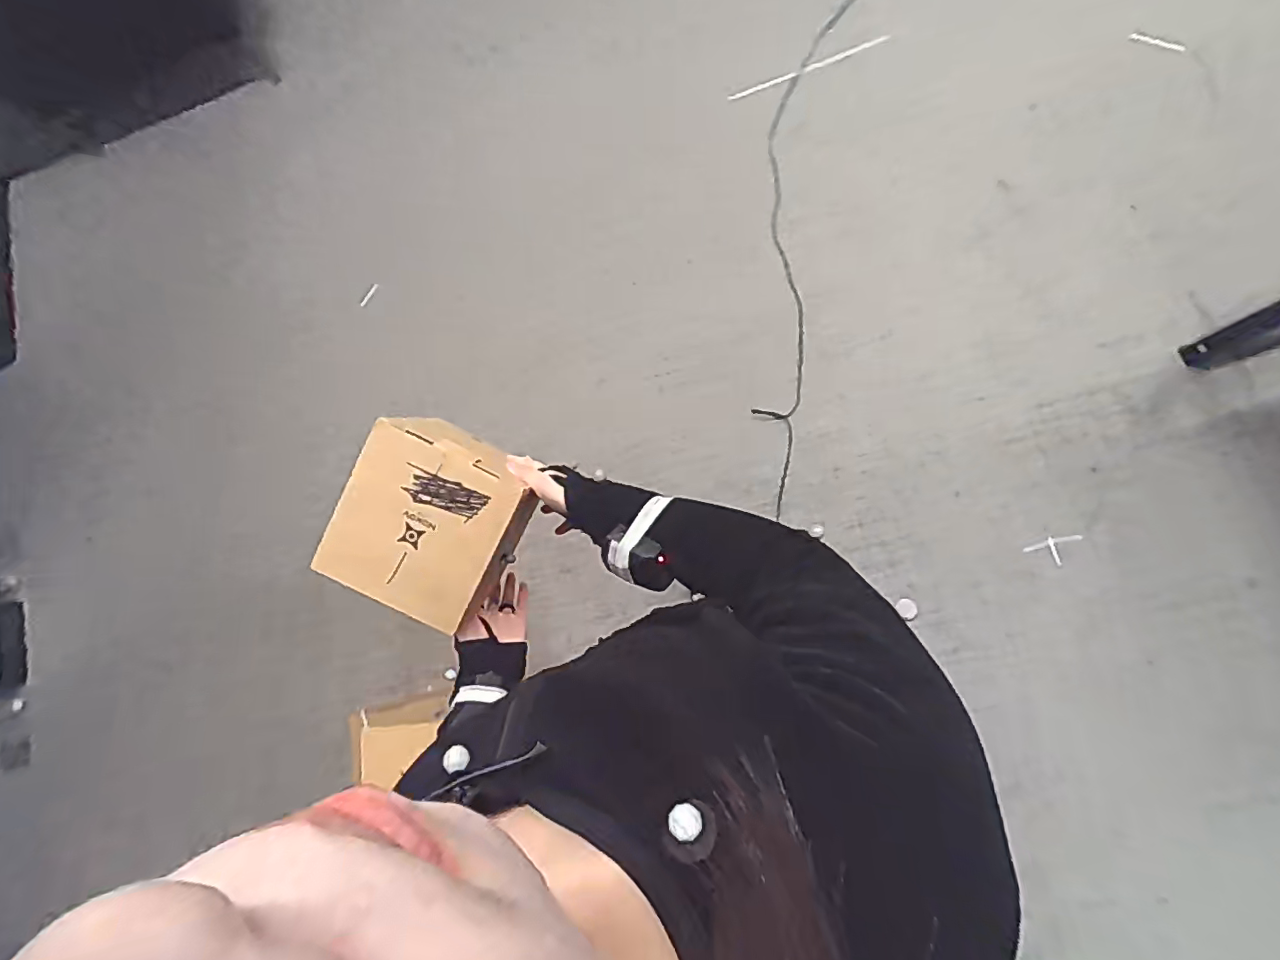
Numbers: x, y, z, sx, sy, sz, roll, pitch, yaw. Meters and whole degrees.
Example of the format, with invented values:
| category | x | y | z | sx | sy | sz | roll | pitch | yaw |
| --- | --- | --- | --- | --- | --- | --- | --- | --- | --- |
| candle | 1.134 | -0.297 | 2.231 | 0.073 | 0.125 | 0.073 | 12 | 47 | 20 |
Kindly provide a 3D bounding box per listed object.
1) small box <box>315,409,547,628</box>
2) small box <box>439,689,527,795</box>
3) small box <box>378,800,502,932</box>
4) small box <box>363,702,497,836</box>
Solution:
| category | x | y | z | sx | sy | sz | roll | pitch | yaw |
| --- | --- | --- | --- | --- | --- | --- | --- | --- | --- |
| small box | -0.222 | 0.032 | 0.626 | 0.168 | 0.176 | 0.179 | 29 | 96 | -3 |
| small box | -0.347 | 0.548 | 1.139 | 0.179 | 0.176 | 0.168 | -10 | 79 | 11 |
| small box | -0.408 | 0.788 | 1.118 | 0.179 | 0.176 | 0.168 | -10 | 81 | 11 |
| small box | -0.374 | 0.512 | 0.982 | 0.168 | 0.176 | 0.179 | -9 | 80 | 10 |
